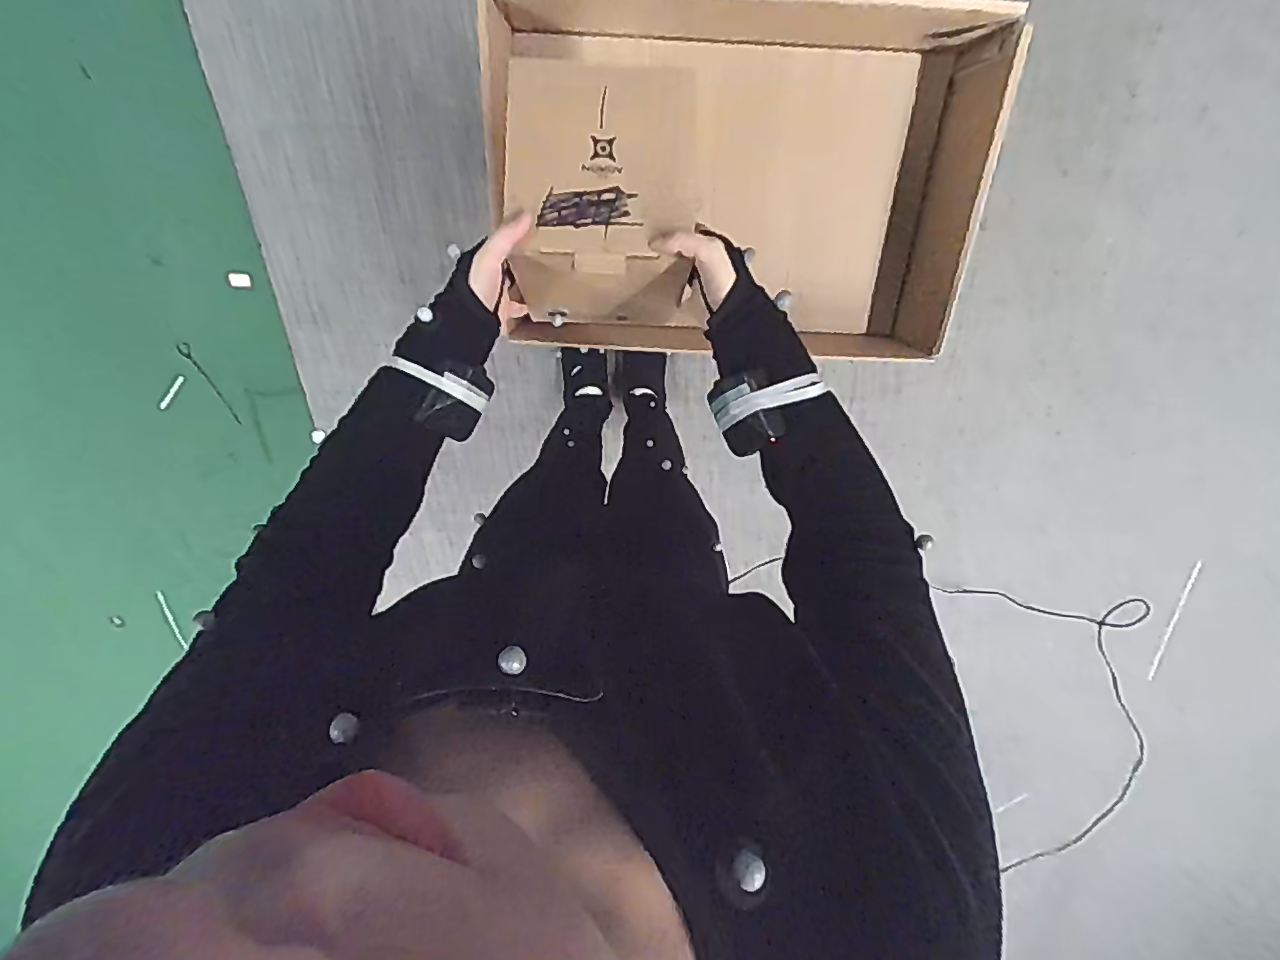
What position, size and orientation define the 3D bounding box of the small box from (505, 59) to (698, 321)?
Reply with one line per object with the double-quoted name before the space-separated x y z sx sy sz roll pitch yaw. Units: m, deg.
"small box" -0.037 -0.275 0.552 0.168 0.176 0.179 2 86 -4
